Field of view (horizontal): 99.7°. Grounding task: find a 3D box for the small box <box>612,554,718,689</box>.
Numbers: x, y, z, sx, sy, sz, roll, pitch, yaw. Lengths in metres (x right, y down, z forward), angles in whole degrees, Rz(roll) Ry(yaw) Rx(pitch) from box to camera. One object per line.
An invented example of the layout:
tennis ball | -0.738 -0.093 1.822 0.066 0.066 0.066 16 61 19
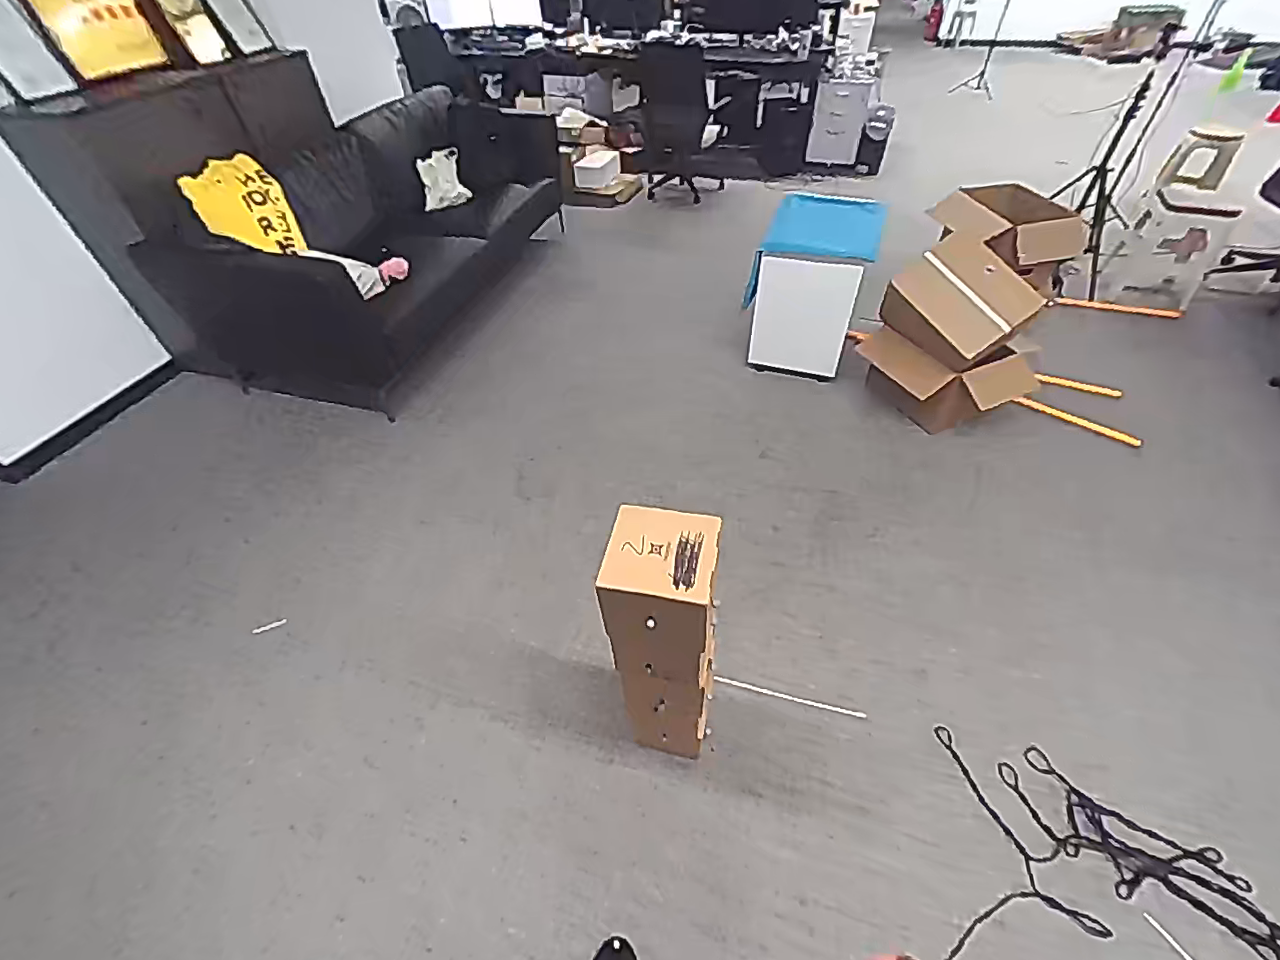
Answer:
small box | 0.052 0.271 1.037 0.168 0.176 0.179 8 48 12

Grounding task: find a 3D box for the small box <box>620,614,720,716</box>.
small box | 0.067 0.383 1.155 0.179 0.176 0.168 9 47 11

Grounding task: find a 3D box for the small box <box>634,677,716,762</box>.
small box | 0.092 0.602 1.397 0.179 0.176 0.168 10 47 12

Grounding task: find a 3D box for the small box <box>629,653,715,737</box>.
small box | 0.075 0.486 1.283 0.179 0.176 0.168 10 48 13
